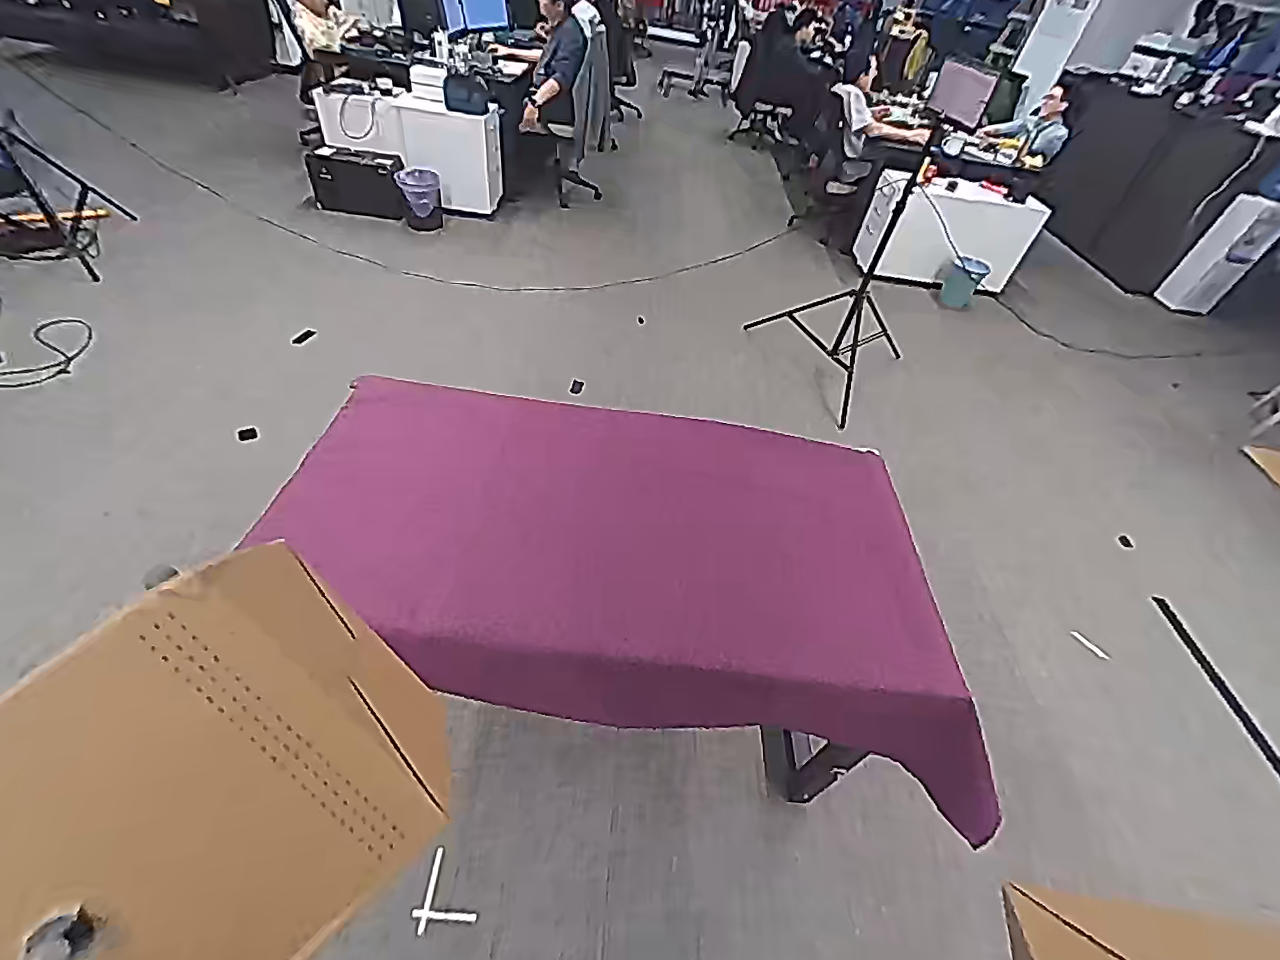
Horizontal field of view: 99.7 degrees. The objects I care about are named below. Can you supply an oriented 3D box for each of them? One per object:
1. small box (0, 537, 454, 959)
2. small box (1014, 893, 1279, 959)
[{"bbox_3d":[-0.227,0.156,0.309,0.176,0.168,0.179,-40,101,-18],"label":"small box"},{"bbox_3d":[0.268,0.297,0.213,0.168,0.179,0.176,-8,77,24],"label":"small box"}]
